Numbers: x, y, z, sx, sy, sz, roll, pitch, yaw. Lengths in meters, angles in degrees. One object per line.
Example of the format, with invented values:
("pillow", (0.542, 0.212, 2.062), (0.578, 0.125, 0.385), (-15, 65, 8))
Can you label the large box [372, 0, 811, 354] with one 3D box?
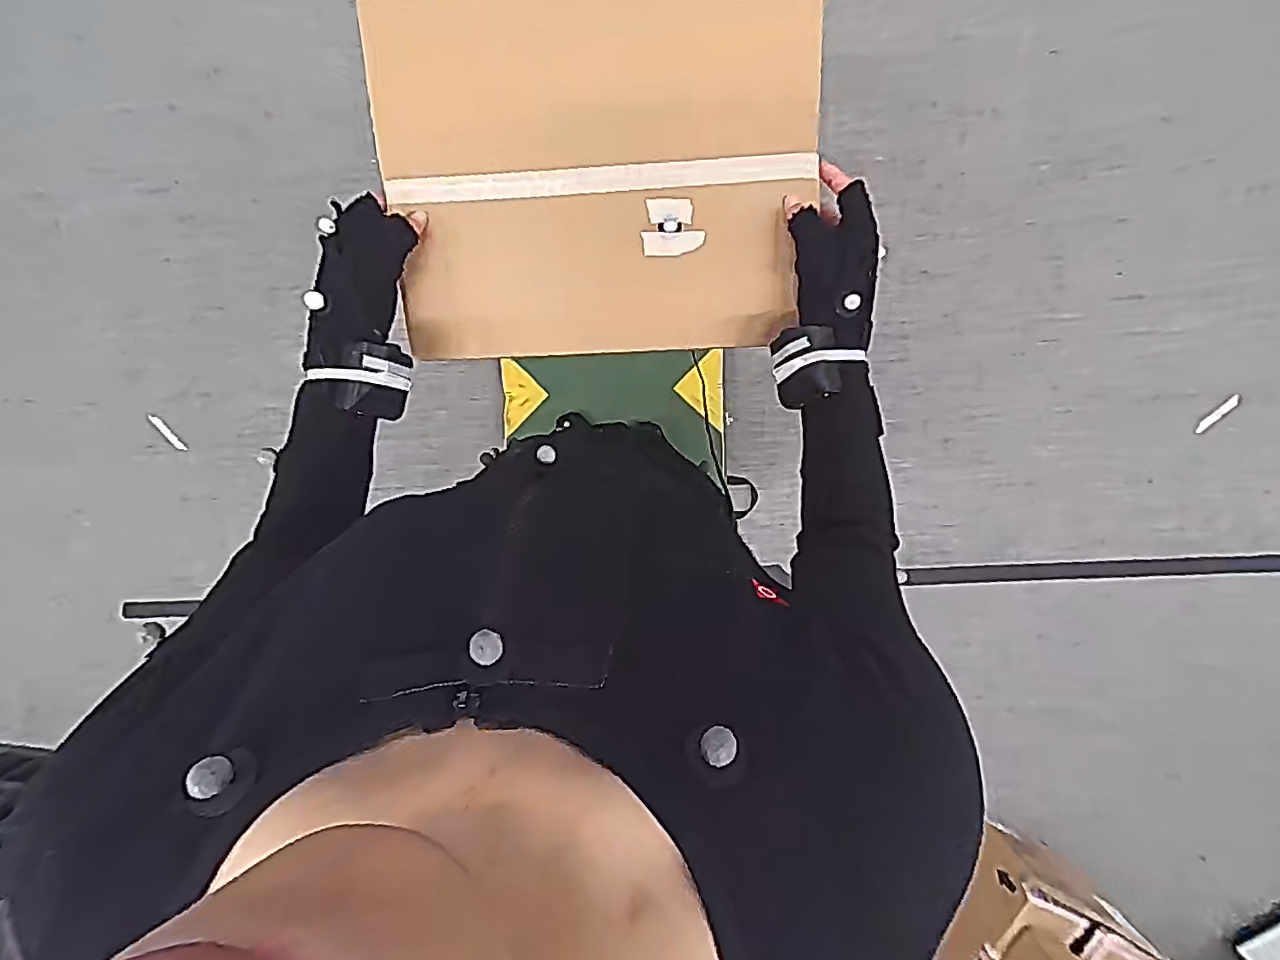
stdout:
("large box", (-0.037, -0.330, 0.663), (0.408, 0.320, 0.320), (-3, 106, 1))
